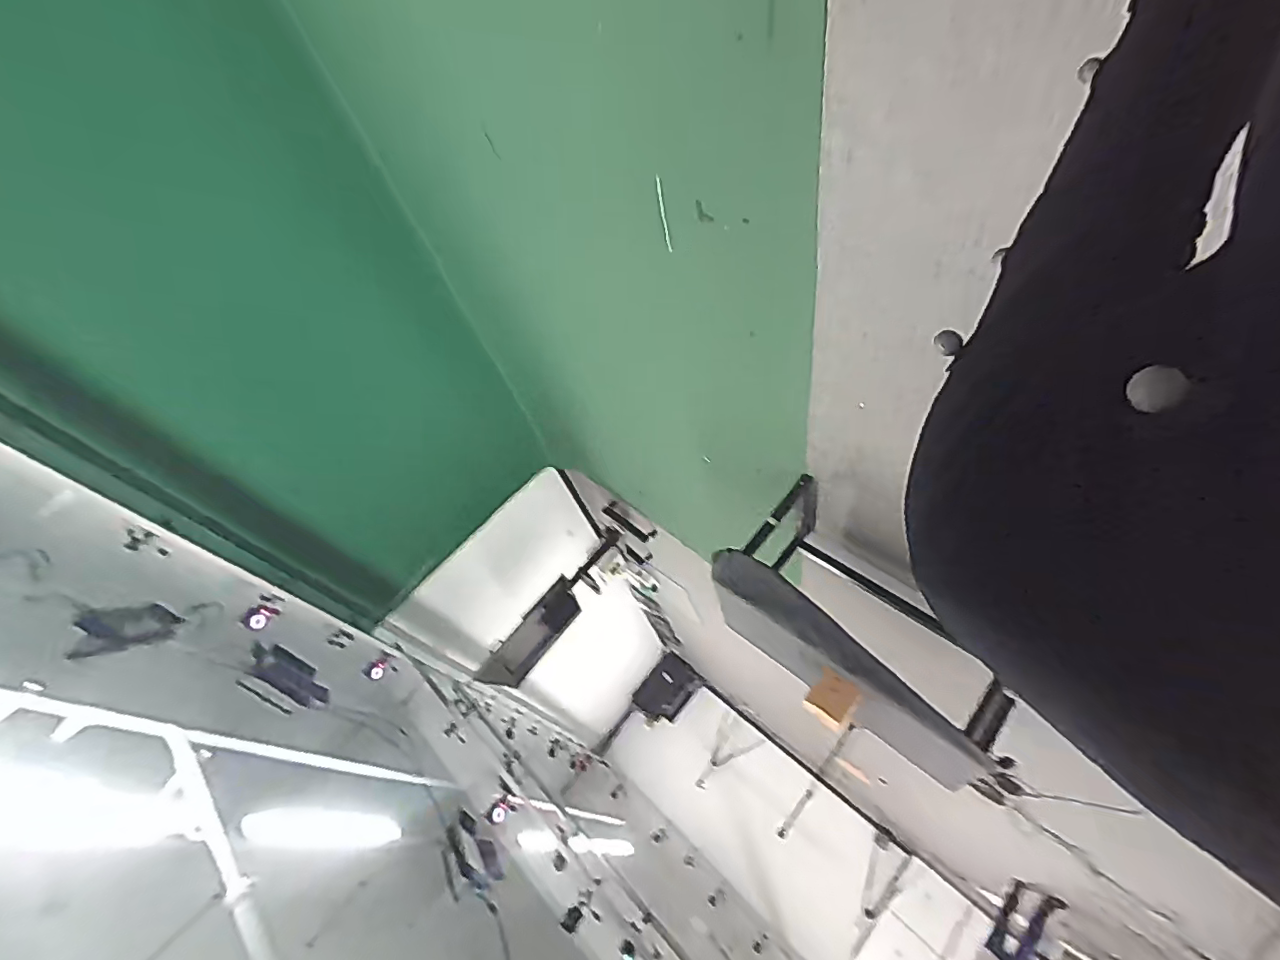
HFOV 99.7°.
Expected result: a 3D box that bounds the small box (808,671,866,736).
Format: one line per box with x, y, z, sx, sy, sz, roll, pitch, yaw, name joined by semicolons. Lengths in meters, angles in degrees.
0.818;0.925;2.247;0.168;0.176;0.179;32;159;33;small box
